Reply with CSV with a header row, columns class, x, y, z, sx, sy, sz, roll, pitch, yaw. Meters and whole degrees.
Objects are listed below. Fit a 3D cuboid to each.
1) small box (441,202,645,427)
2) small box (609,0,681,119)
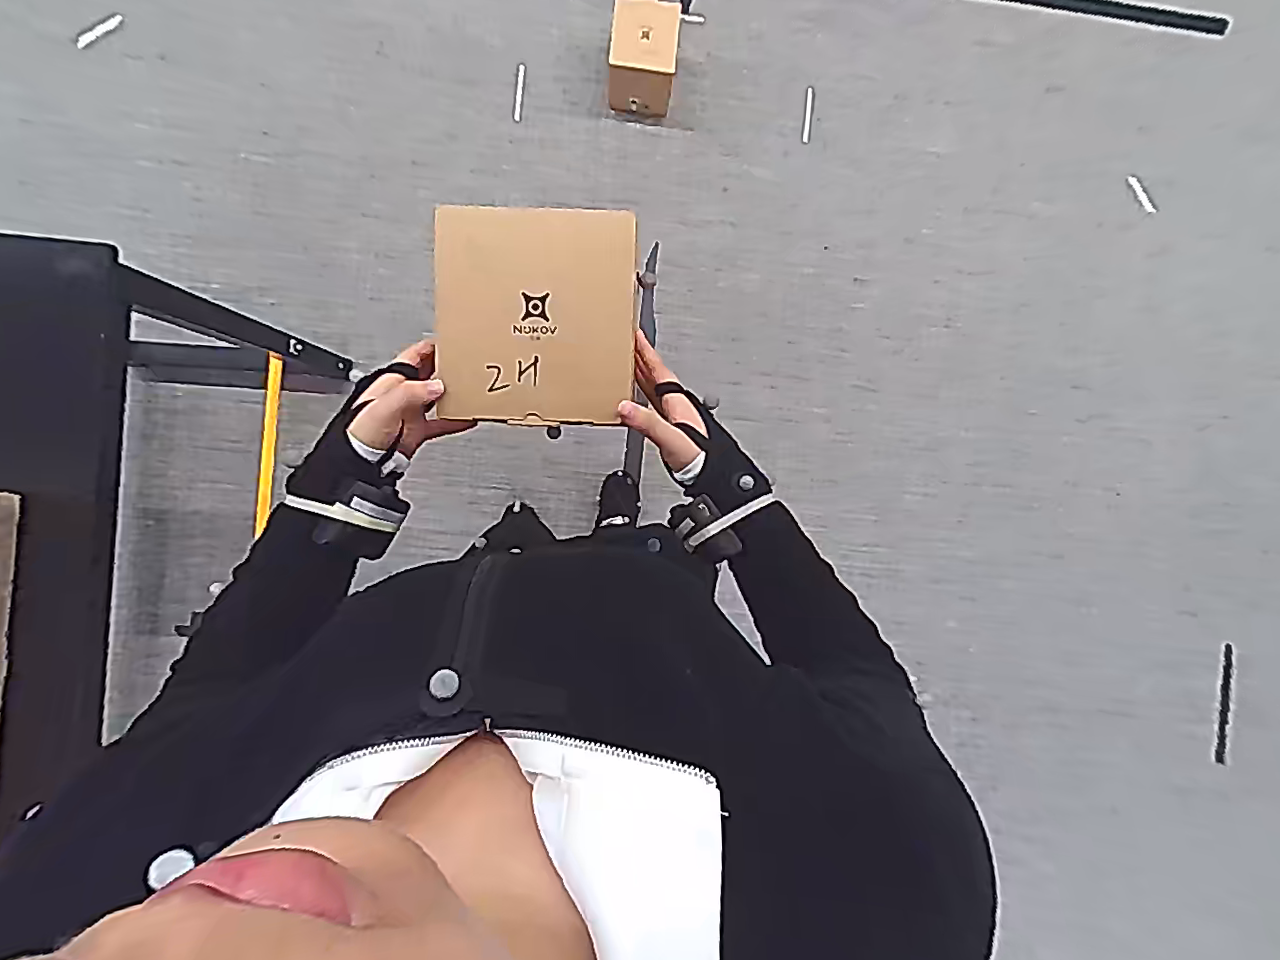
class,x,y,z,sx,sy,sz,roll,pitch,yaw
small box,-0.081,-0.143,0.522,0.168,0.176,0.179,2,97,1
small box,0.008,-1.090,1.407,0.168,0.176,0.179,5,92,-3
